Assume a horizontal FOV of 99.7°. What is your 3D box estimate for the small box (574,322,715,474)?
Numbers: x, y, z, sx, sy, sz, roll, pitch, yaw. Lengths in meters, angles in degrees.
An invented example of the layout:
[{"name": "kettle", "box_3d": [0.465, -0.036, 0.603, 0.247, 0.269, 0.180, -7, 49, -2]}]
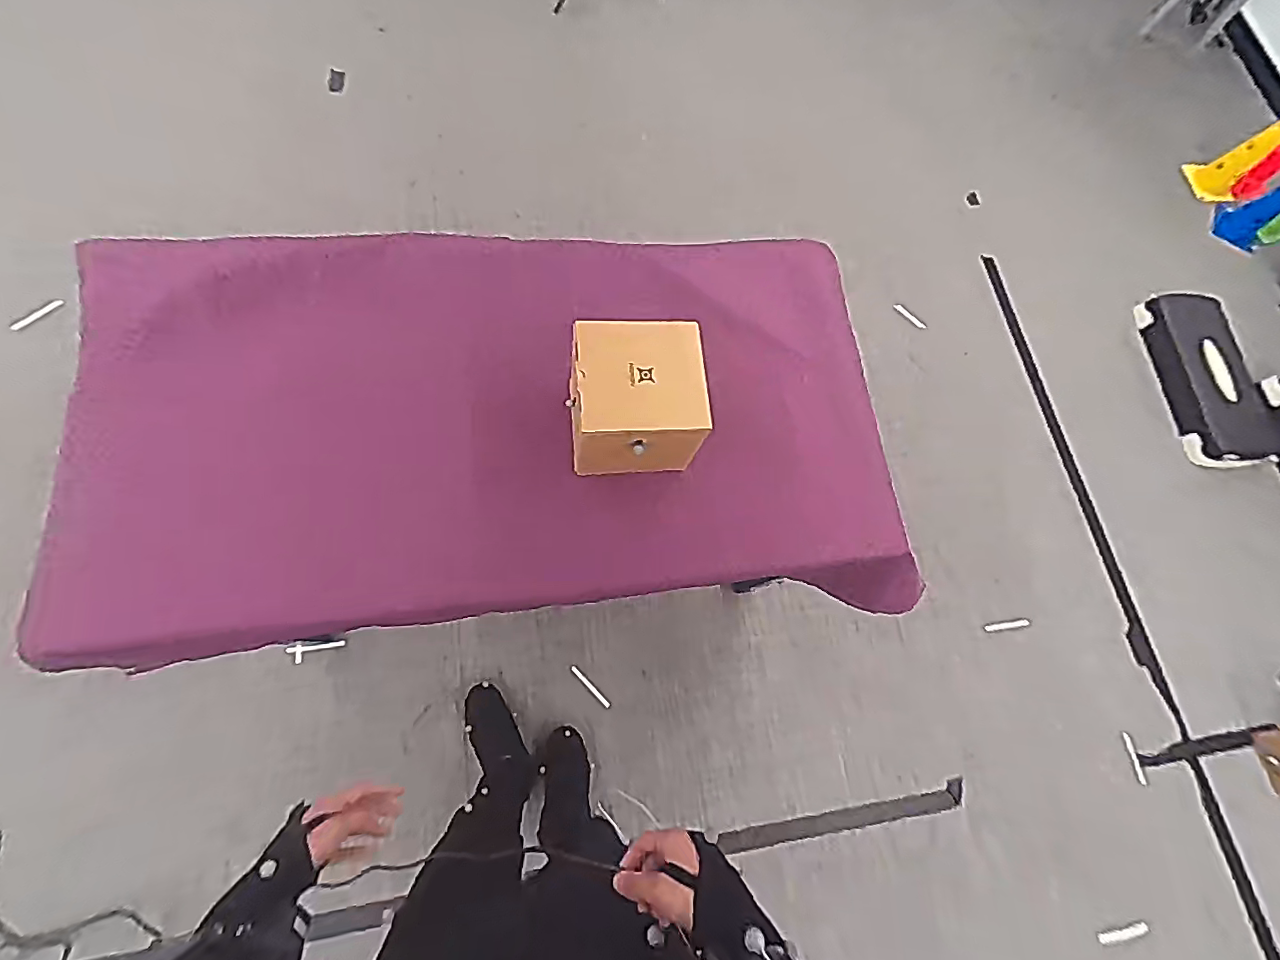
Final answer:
[{"name": "small box", "box_3d": [-0.004, -0.112, 0.790, 0.179, 0.176, 0.168, -3, 73, -8]}]
